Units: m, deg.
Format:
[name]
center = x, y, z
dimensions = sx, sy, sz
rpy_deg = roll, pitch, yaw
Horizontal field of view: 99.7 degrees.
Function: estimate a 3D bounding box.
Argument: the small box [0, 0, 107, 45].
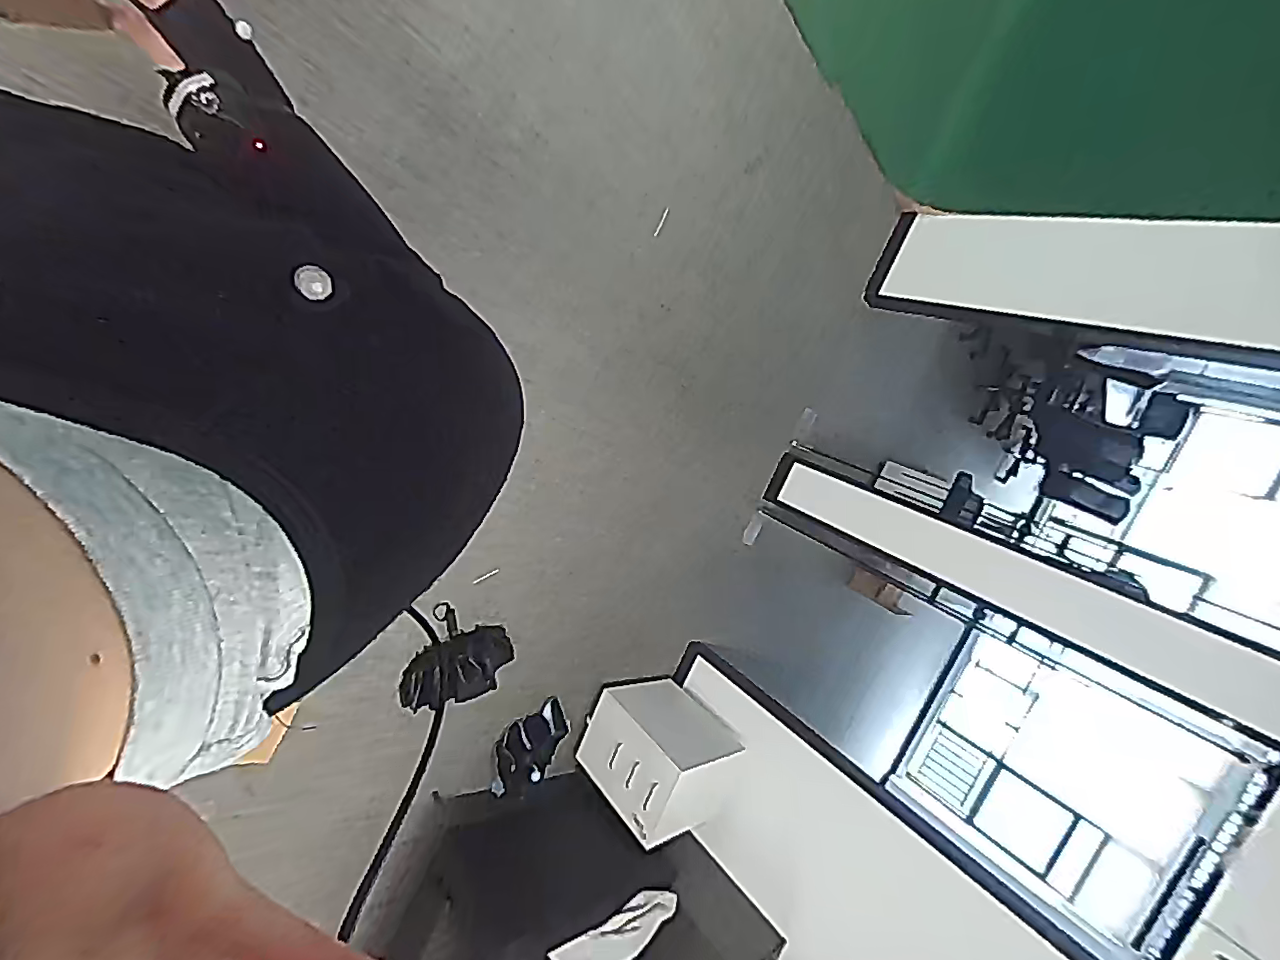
[small box]
center = -0.472, -0.397, 0.317
dimensions = 0.168, 0.176, 0.179
rpy_deg = -15, 117, -26
